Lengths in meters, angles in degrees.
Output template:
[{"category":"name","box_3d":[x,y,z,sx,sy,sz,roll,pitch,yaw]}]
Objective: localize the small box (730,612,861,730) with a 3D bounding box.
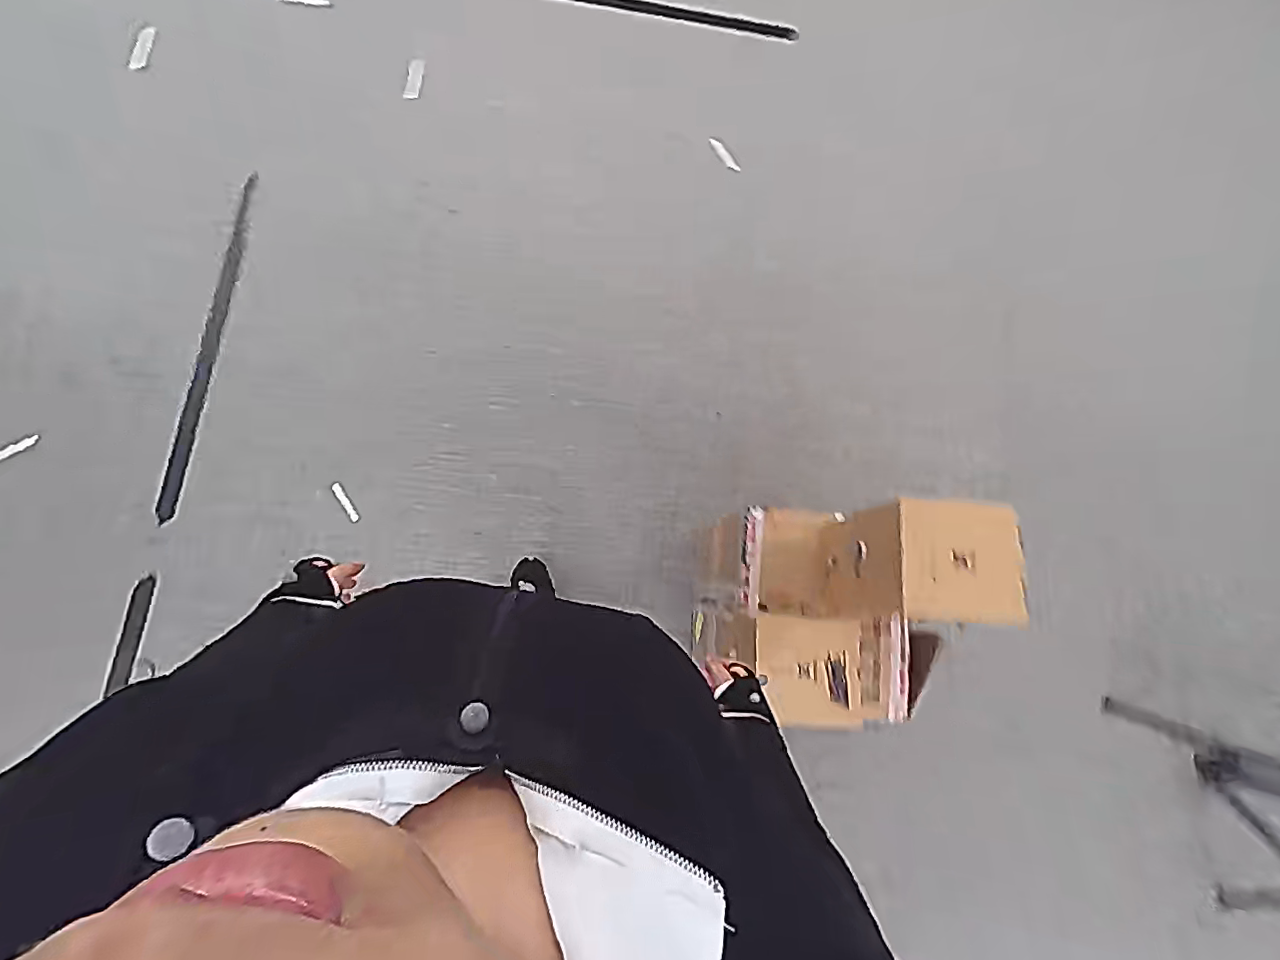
[{"category":"small box","box_3d":[0.264,0.324,0.944,0.179,0.176,0.168,4,79,-2]}]

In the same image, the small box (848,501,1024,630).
[{"category":"small box","box_3d":[0.440,0.133,0.826,0.179,0.176,0.168,5,77,-1]}]

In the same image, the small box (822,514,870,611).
[{"category":"small box","box_3d":[0.451,0.162,0.987,0.179,0.176,0.168,6,78,-2]}]
